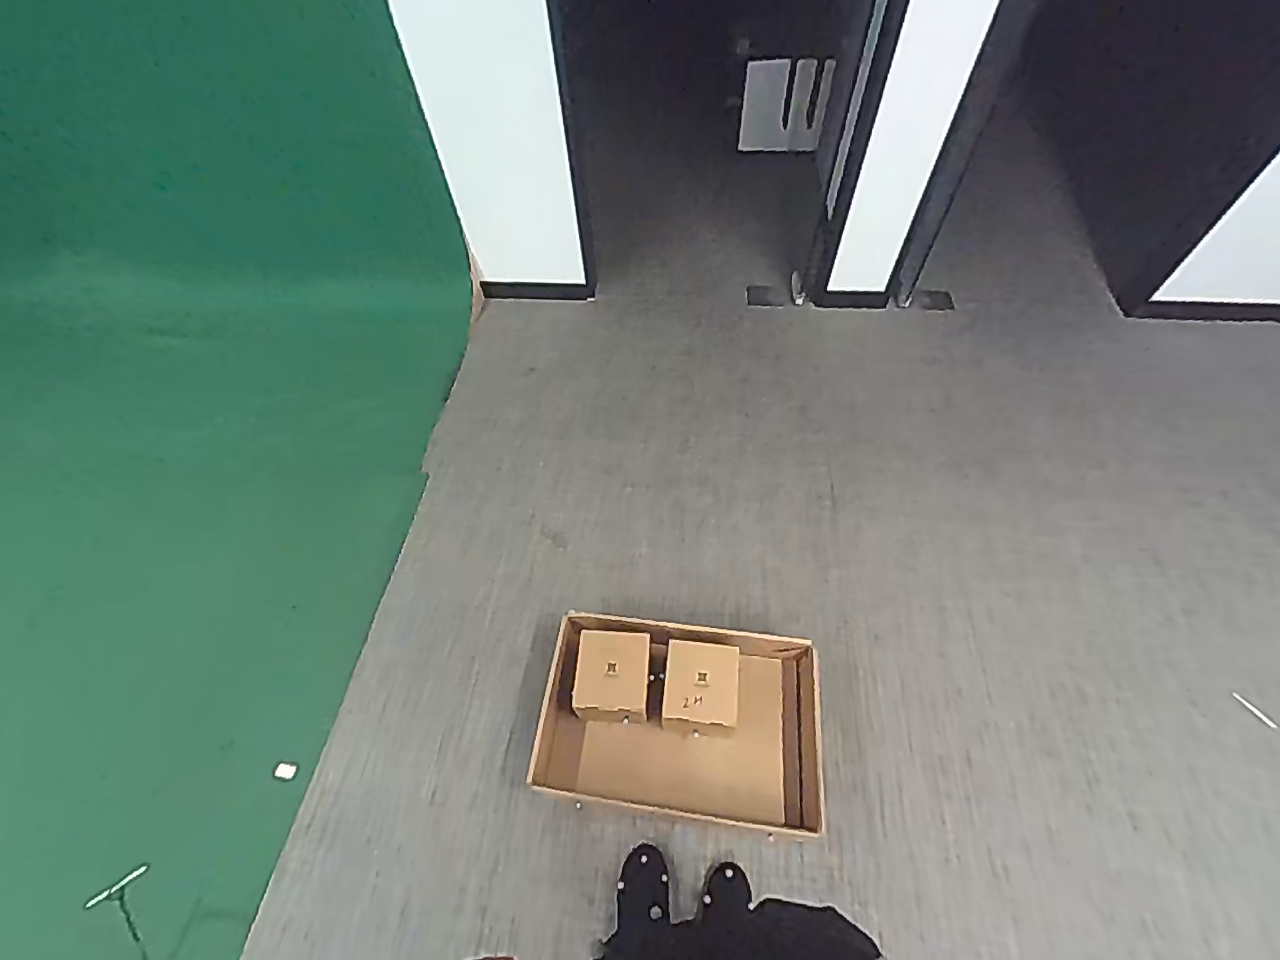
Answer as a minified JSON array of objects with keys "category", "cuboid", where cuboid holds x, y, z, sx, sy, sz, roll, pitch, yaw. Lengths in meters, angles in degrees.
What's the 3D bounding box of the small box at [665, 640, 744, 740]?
[{"category":"small box","cuboid":[0.152,0.497,1.275,0.168,0.176,0.179,4,57,8]}]
